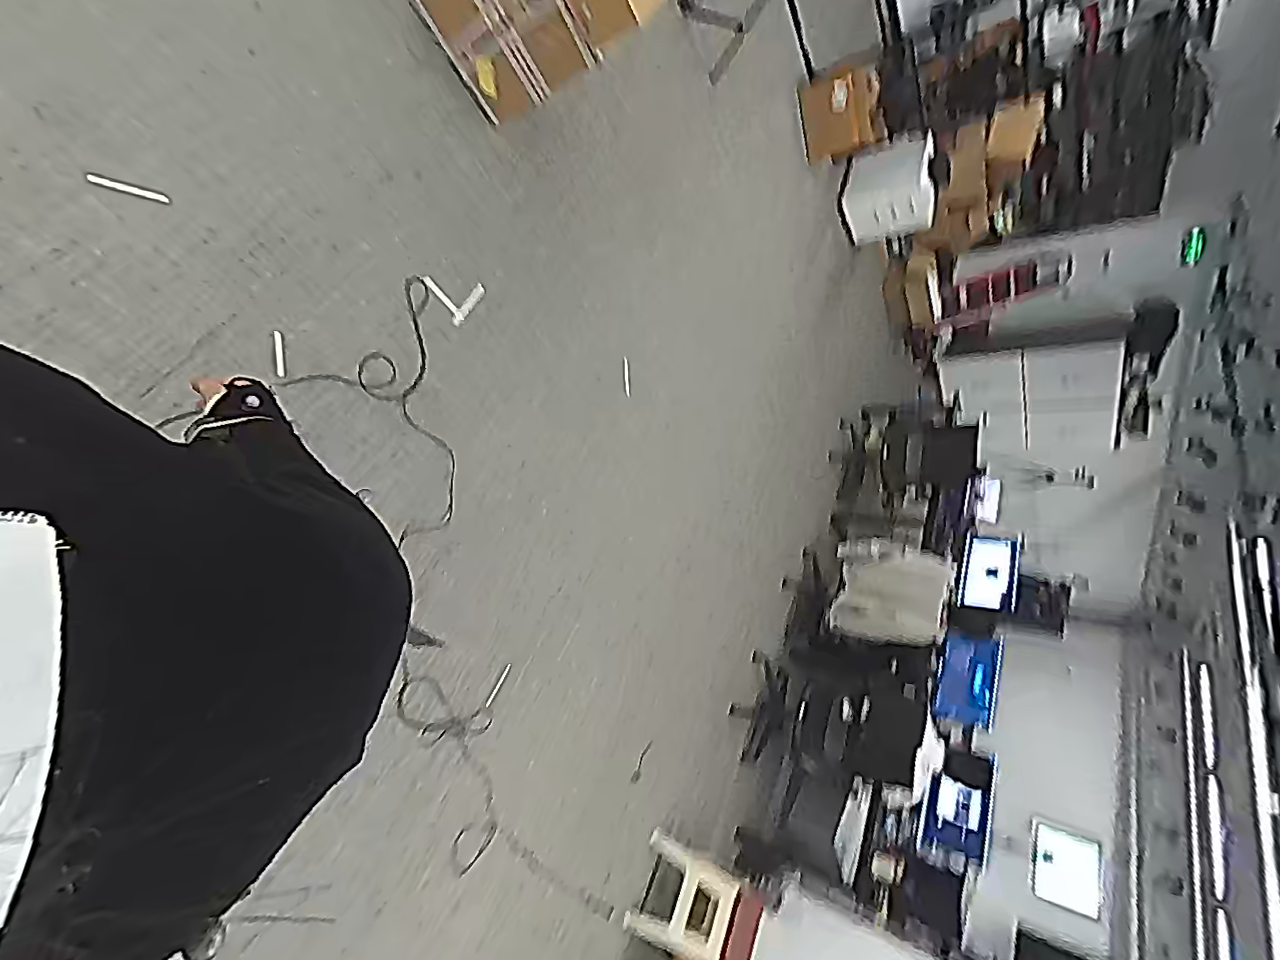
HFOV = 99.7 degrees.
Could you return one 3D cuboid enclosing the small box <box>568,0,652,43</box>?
[{"bbox_3d":[-0.075,-1.276,1.380,0.168,0.176,0.179,49,59,-40],"label":"small box"}]
